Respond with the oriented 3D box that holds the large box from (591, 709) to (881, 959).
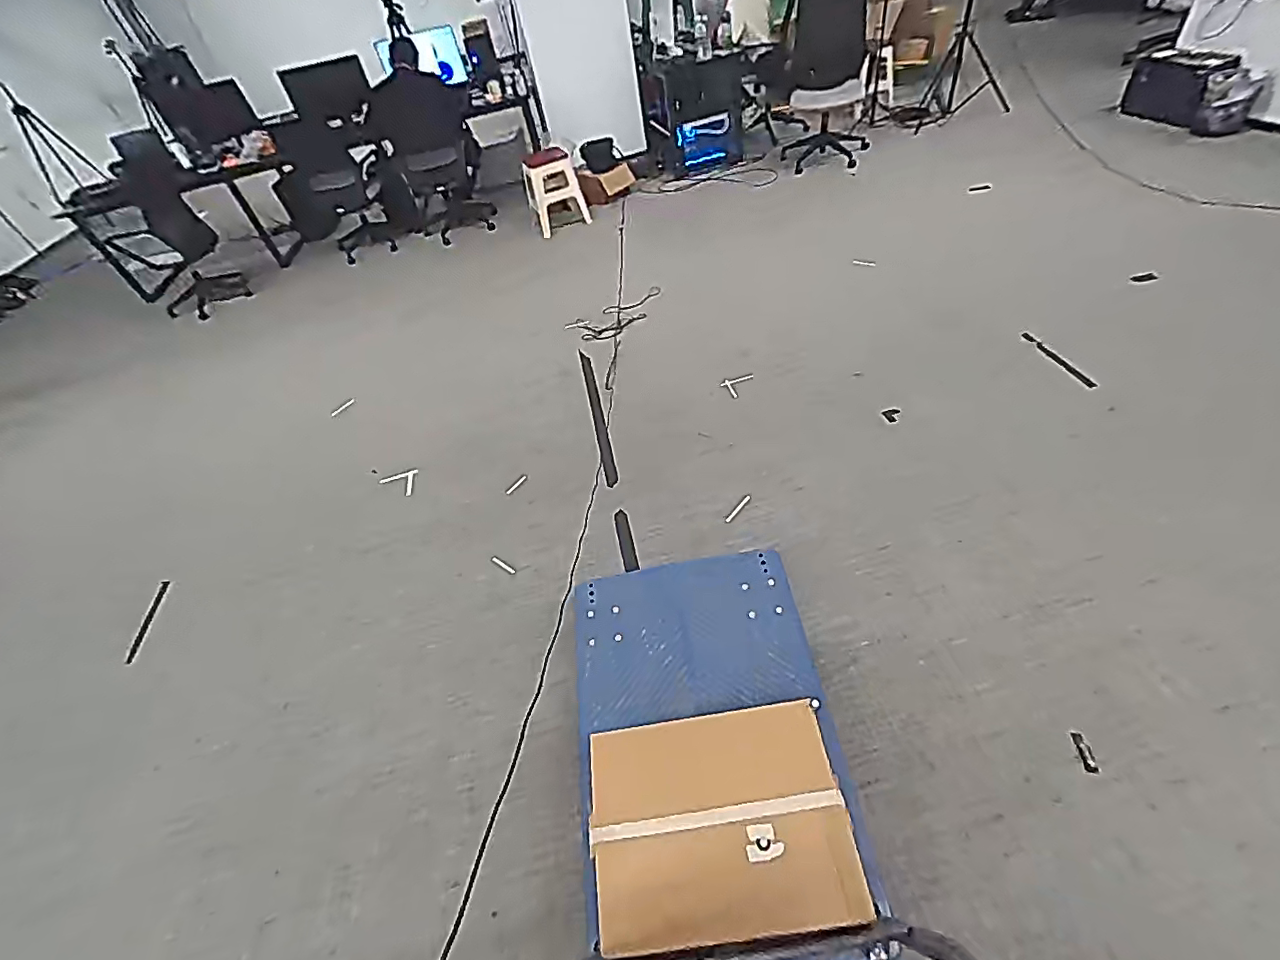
[{"bbox_3d":[0.146,0.647,0.964,0.408,0.320,0.320,-11,50,2],"label":"large box"}]
